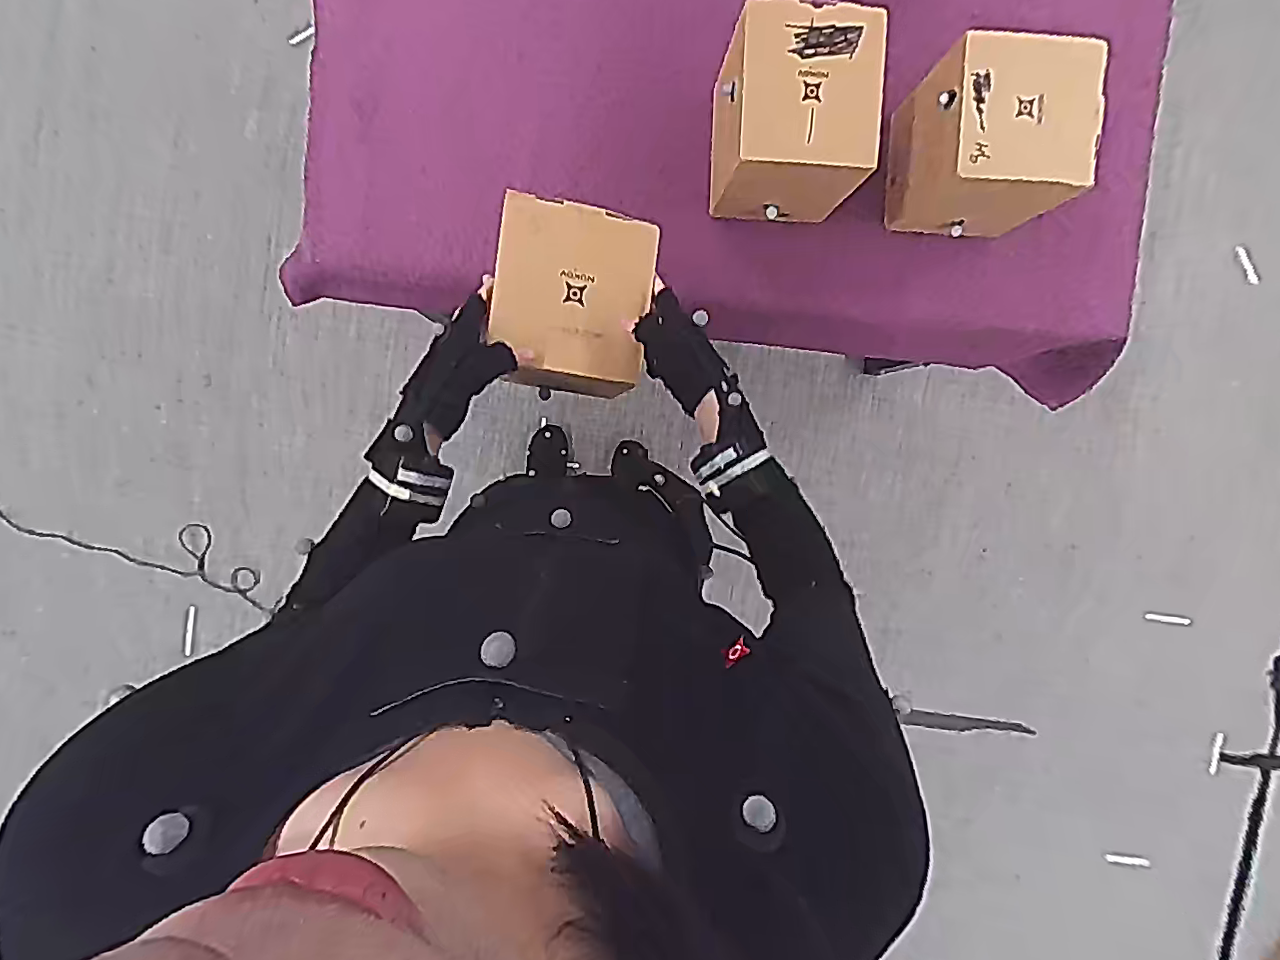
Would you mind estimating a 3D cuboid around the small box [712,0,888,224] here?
[{"bbox_3d":[0.190,-0.453,0.689,0.168,0.176,0.179,1,95,-4],"label":"small box"}]

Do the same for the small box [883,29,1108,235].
[{"bbox_3d":[0.452,-0.438,0.711,0.179,0.176,0.168,2,94,-5],"label":"small box"}]

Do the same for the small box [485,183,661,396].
[{"bbox_3d":[-0.085,-0.205,0.637,0.168,0.176,0.179,7,91,-12],"label":"small box"}]
